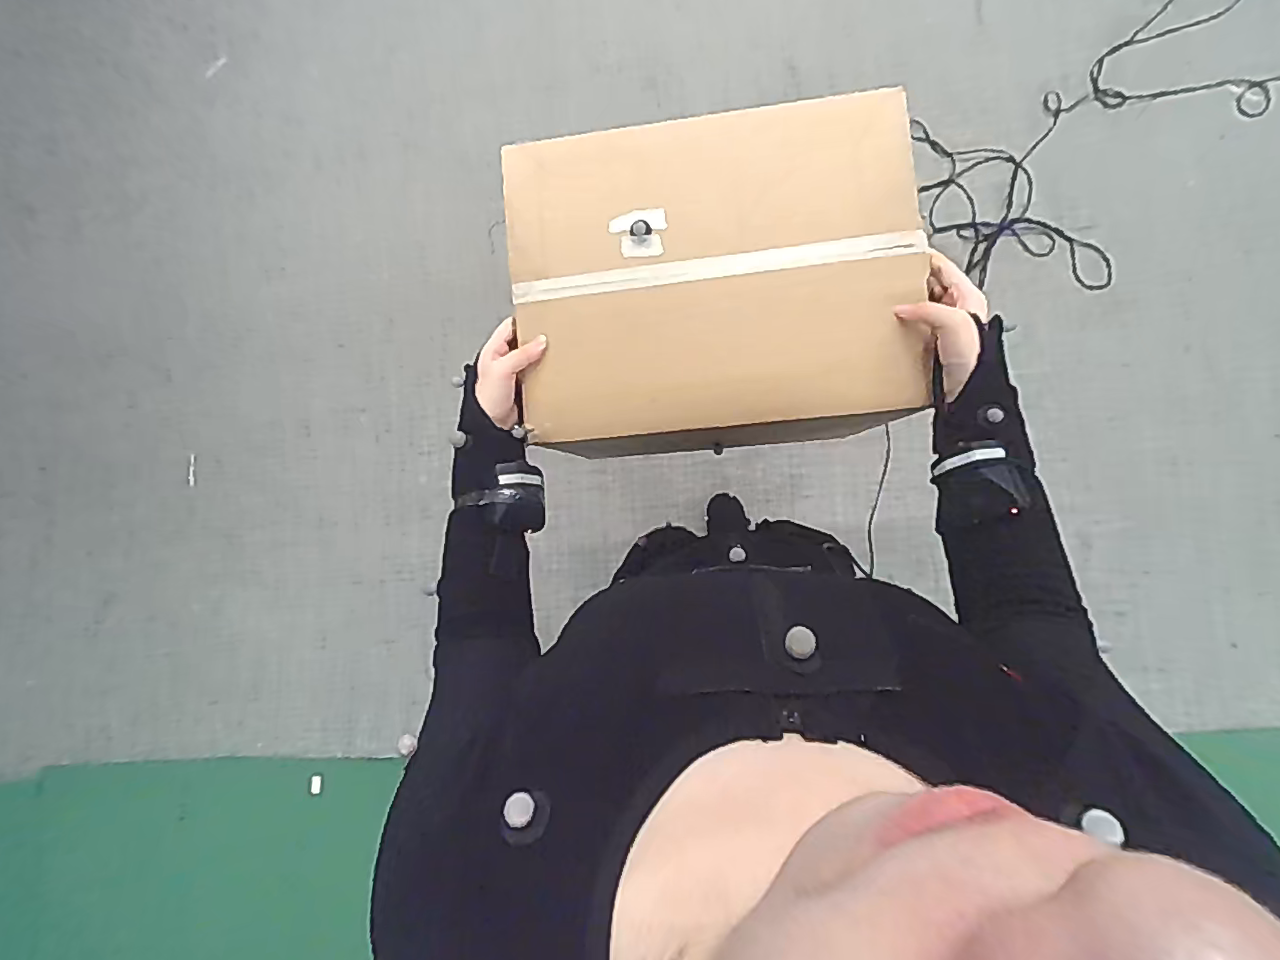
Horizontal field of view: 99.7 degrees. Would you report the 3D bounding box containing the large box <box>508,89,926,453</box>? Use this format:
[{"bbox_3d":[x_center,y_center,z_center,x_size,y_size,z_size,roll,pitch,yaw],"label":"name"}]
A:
[{"bbox_3d":[0.089,-0.212,0.698,0.408,0.320,0.320,-5,88,7],"label":"large box"}]
